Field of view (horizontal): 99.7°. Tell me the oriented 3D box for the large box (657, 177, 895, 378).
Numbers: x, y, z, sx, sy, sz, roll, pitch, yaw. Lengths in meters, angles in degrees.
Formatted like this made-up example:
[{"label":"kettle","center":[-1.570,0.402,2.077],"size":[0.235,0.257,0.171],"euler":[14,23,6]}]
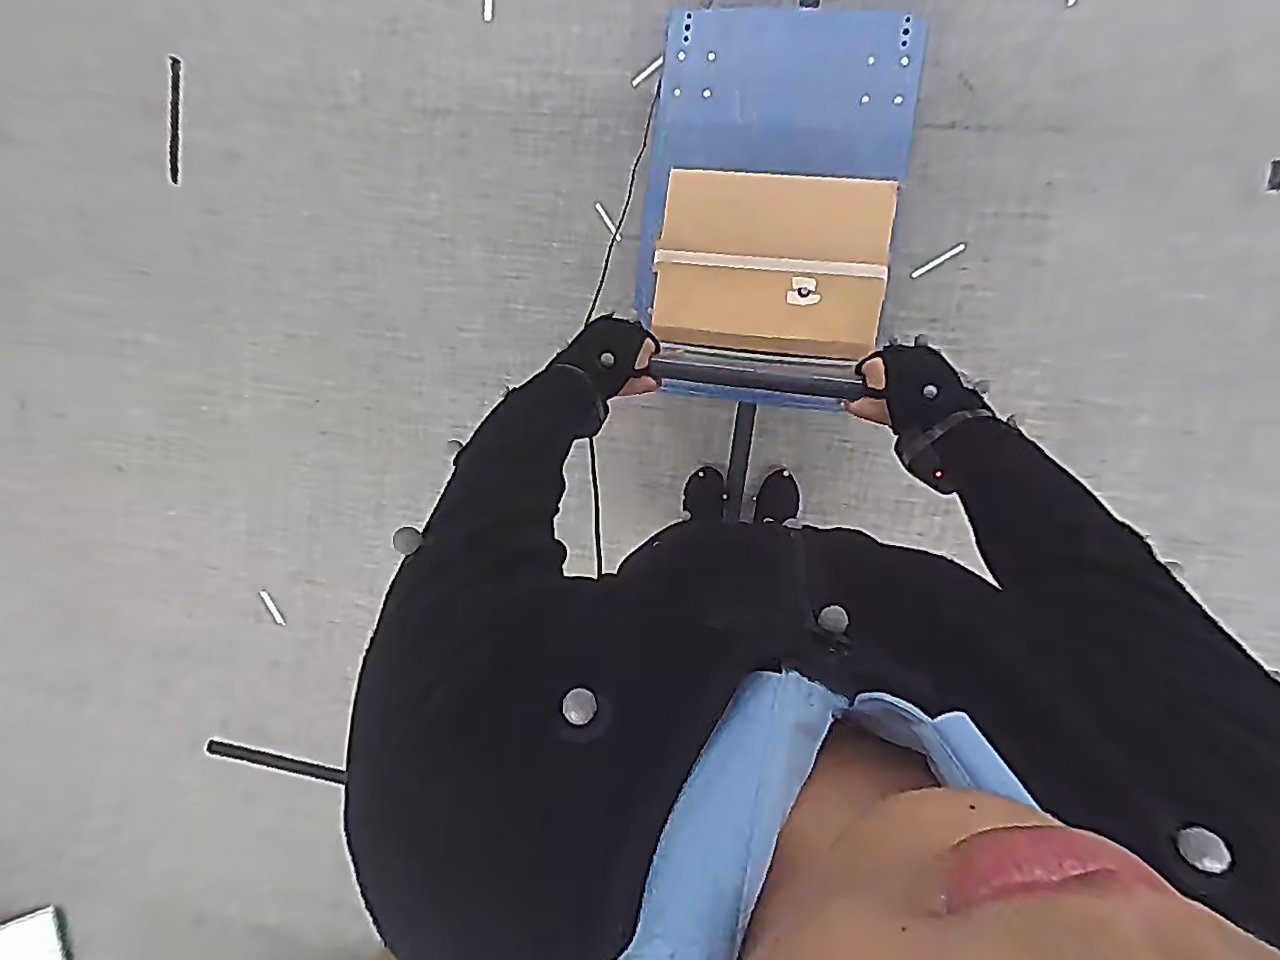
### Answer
[{"label":"large box","center":[0.259,-0.401,1.138],"size":[0.408,0.320,0.320],"euler":[7,96,7]}]
